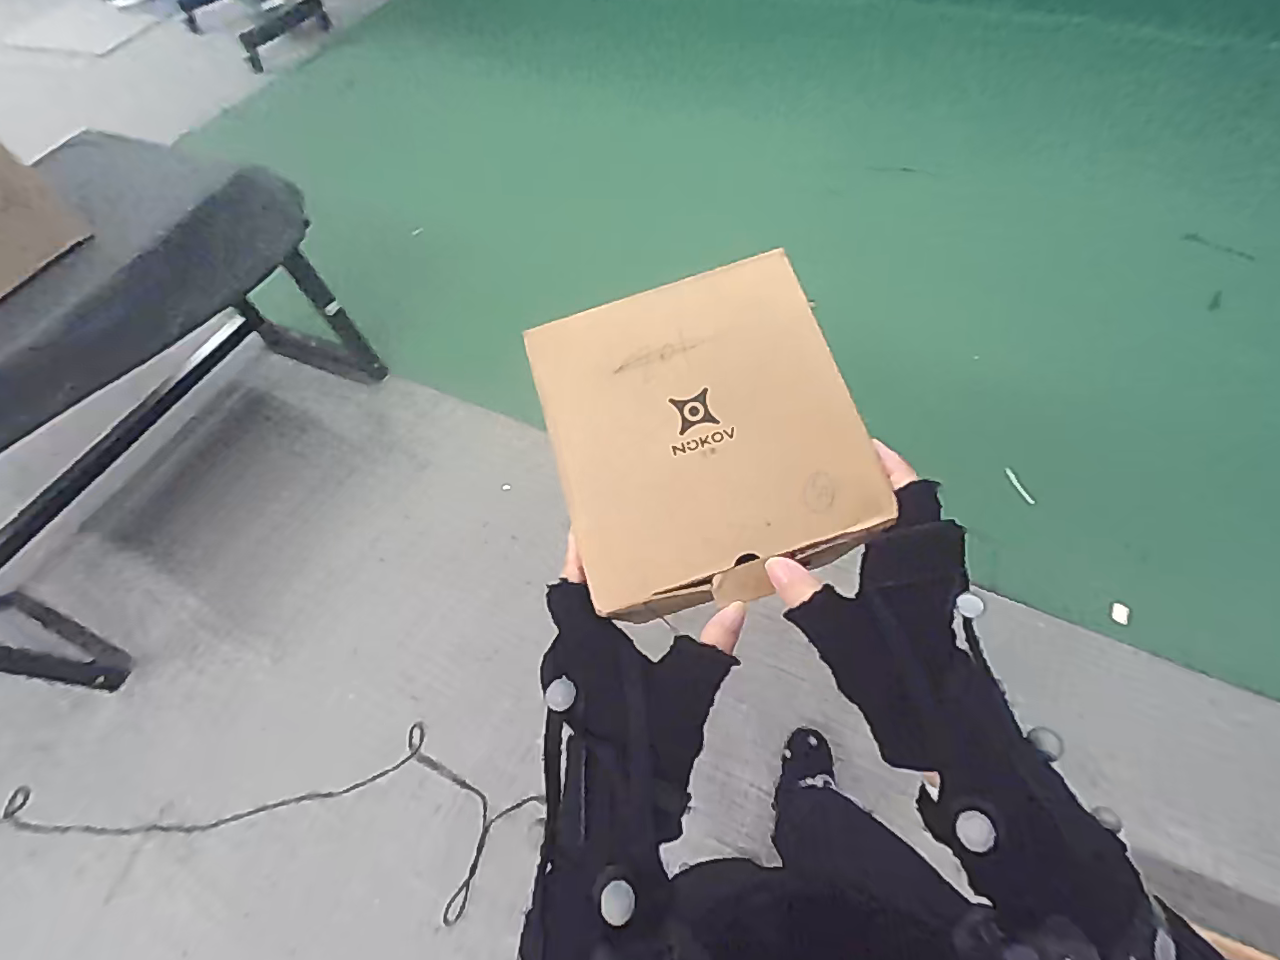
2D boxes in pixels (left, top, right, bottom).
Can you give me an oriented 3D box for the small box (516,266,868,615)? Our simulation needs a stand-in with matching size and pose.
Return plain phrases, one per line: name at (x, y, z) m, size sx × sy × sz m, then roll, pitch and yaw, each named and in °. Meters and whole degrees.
small box at (0.031, -0.009, 0.387) m, size 0.168 × 0.176 × 0.179 m, roll -18°, pitch 71°, yaw 1°
